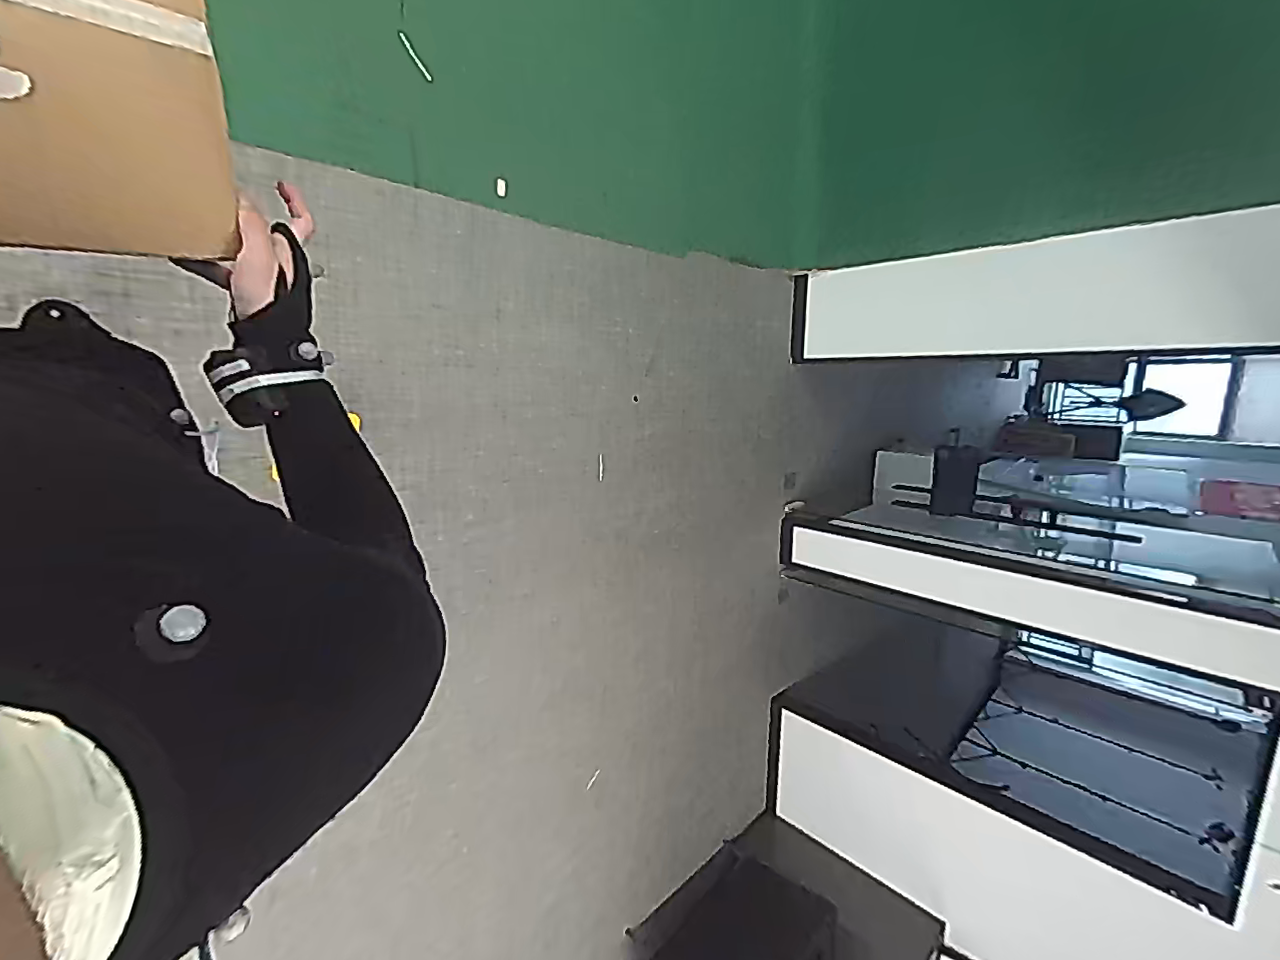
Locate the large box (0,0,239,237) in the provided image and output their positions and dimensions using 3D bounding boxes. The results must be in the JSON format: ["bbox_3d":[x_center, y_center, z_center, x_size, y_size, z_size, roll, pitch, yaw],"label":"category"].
[{"bbox_3d":[-0.575,-0.357,0.362,0.408,0.320,0.320,-17,124,-45],"label":"large box"}]
